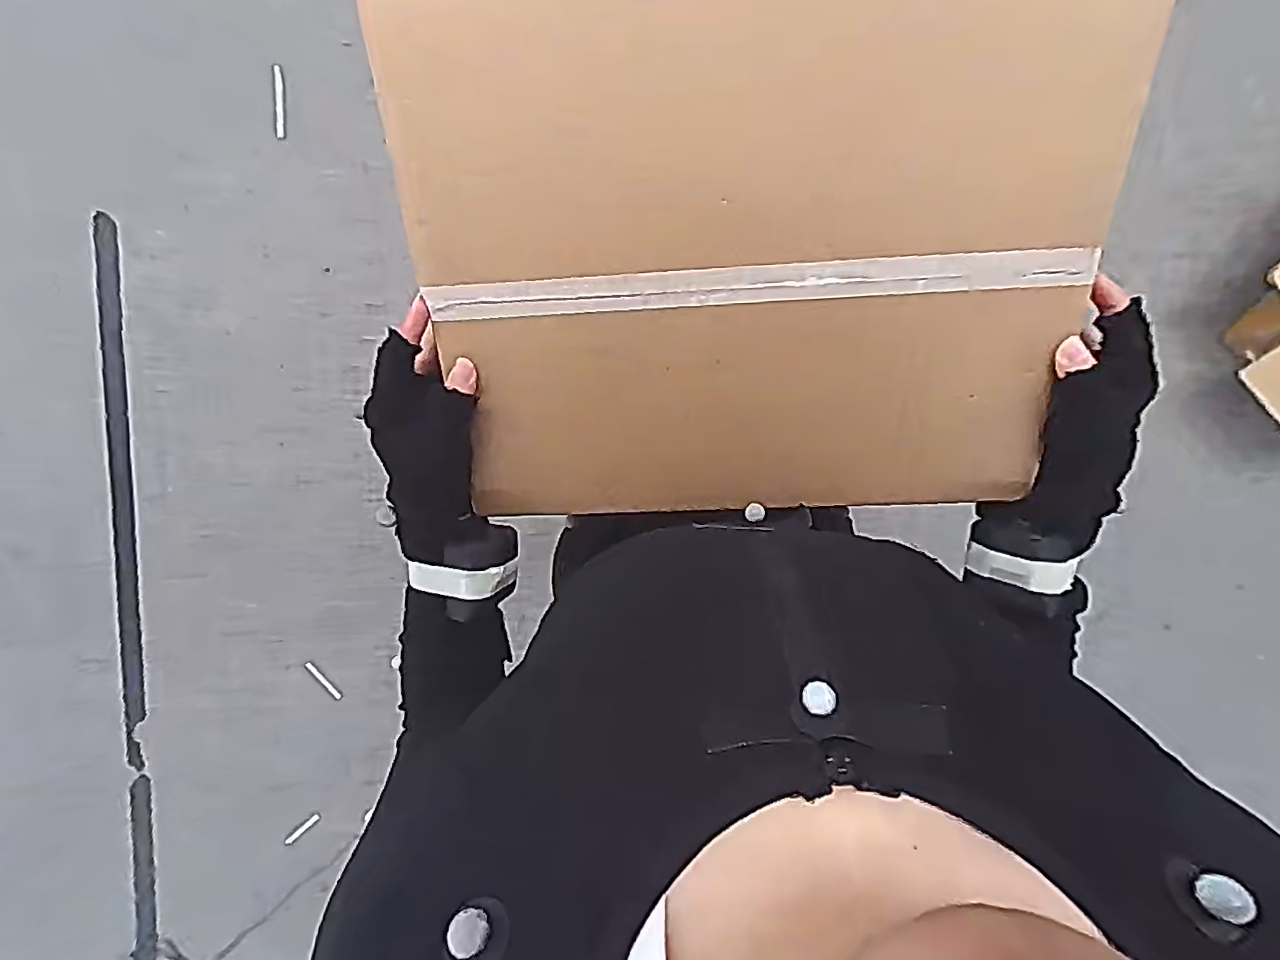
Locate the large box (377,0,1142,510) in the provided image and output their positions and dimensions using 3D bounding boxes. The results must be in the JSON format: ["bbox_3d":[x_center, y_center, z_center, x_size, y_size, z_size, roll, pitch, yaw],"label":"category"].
[{"bbox_3d":[0.068,-0.187,0.473,0.408,0.320,0.320,-2,117,3],"label":"large box"}]
